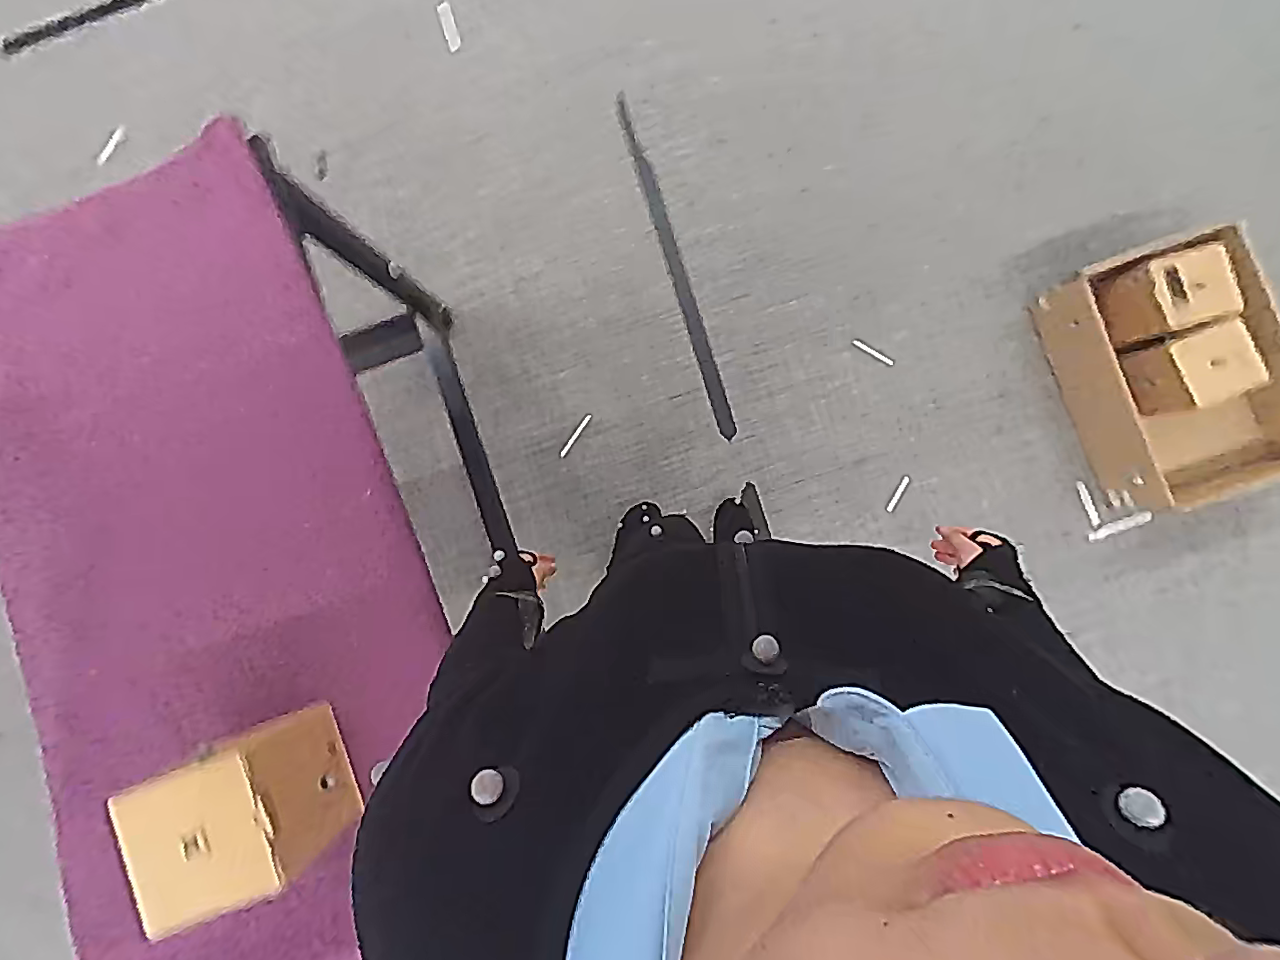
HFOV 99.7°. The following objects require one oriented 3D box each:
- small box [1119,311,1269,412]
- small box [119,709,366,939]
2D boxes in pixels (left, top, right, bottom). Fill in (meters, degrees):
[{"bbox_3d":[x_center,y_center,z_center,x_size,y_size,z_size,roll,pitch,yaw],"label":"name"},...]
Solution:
[{"bbox_3d":[1.340,-0.281,1.327,0.179,0.176,0.168,-24,87,2],"label":"small box"},{"bbox_3d":[-0.505,0.433,0.711,0.179,0.176,0.168,-22,86,1],"label":"small box"}]
